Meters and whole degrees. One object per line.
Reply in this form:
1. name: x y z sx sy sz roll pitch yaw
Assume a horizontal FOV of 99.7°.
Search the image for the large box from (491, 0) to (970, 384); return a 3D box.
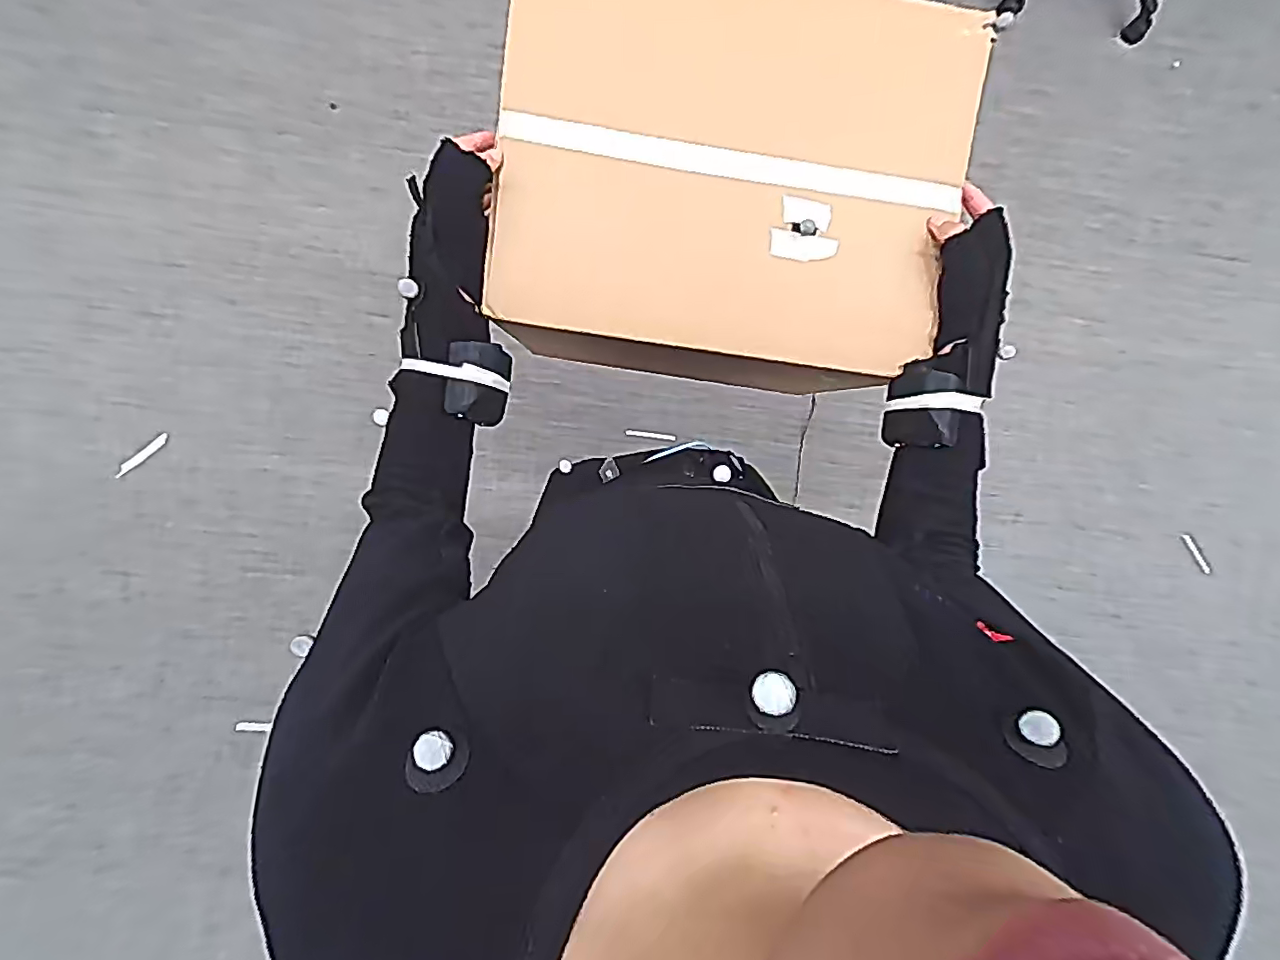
1. large box: 0.068 -0.296 0.627 0.408 0.320 0.320 7 98 -5
